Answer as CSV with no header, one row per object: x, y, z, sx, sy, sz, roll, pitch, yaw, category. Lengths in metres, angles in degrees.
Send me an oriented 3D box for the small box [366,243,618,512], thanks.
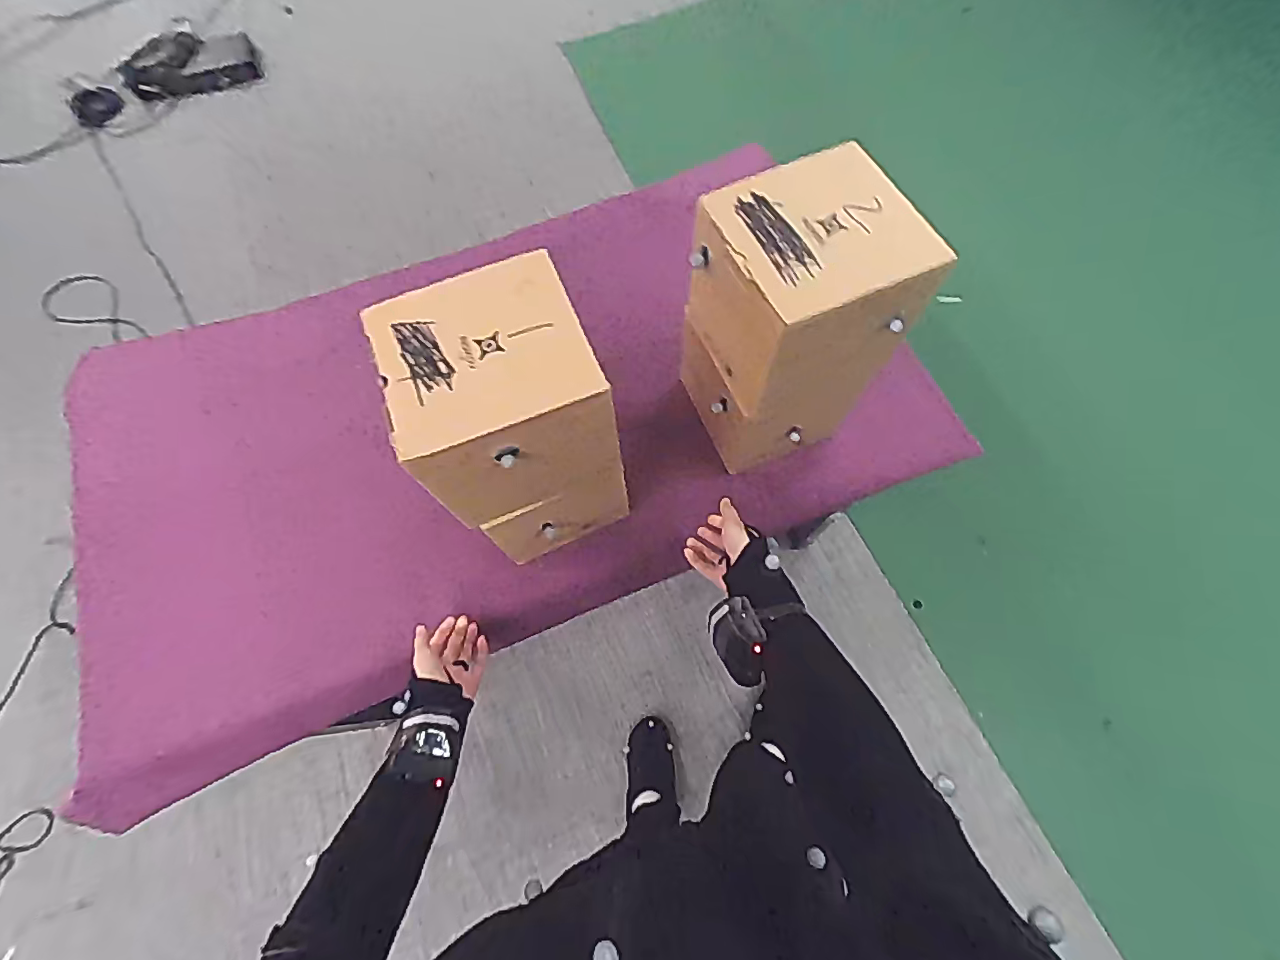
-0.132,-0.088,0.530,0.179,0.176,0.168,-21,68,-7,small box

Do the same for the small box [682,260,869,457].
0.164,-0.147,0.719,0.168,0.176,0.179,-21,69,-6,small box

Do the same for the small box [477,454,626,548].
-0.126,-0.029,0.683,0.168,0.176,0.179,-24,68,-7,small box
